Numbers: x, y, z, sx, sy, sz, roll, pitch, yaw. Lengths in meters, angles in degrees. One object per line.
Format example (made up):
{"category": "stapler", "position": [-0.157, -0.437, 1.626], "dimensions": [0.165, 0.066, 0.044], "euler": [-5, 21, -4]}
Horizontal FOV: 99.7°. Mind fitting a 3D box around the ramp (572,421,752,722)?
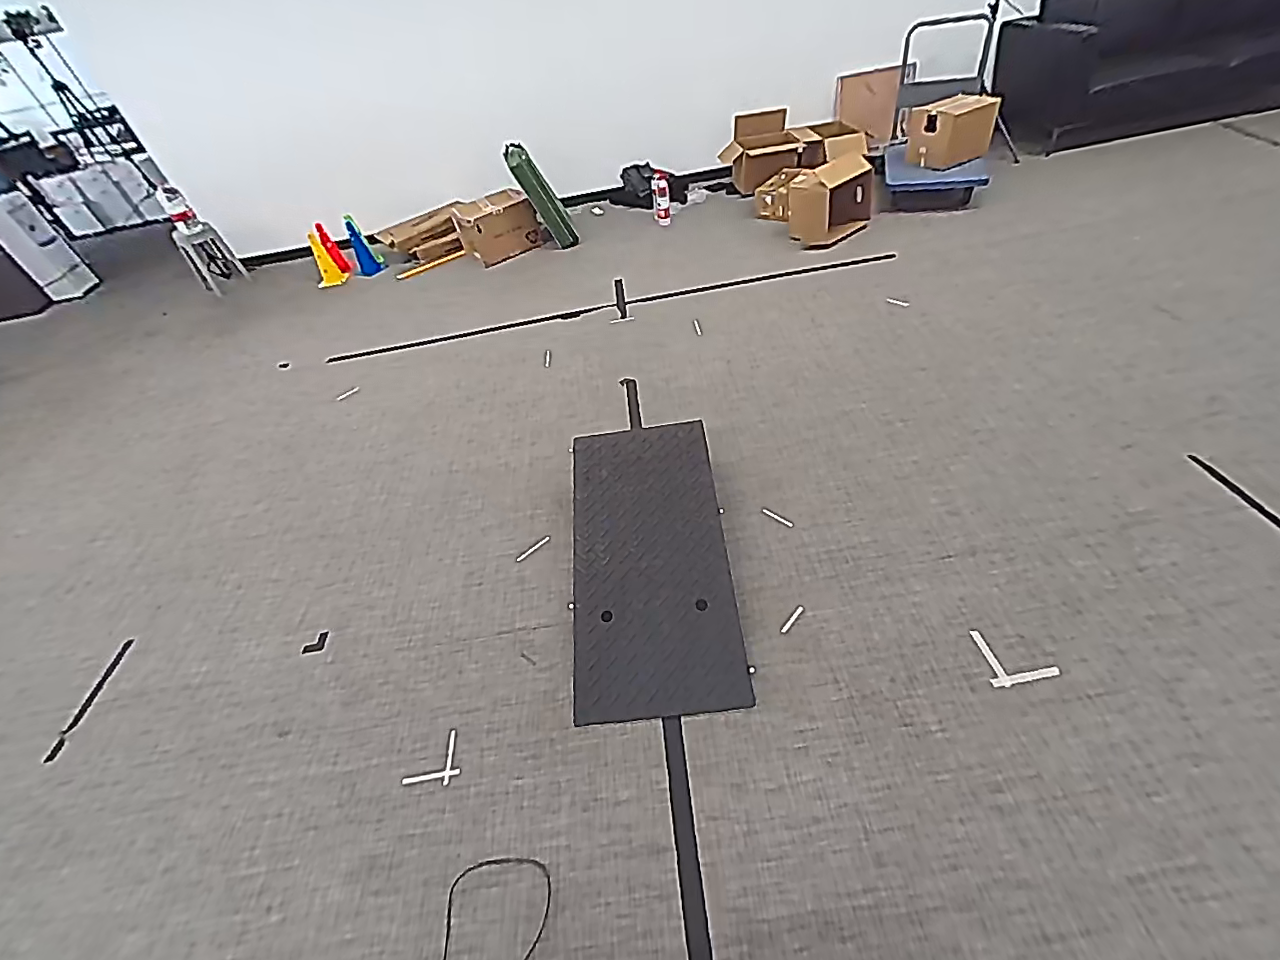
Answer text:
{"category": "ramp", "position": [0.026, 0.221, 1.734], "dimensions": [0.509, 0.206, 0.991], "euler": [-8, 45, 2]}
